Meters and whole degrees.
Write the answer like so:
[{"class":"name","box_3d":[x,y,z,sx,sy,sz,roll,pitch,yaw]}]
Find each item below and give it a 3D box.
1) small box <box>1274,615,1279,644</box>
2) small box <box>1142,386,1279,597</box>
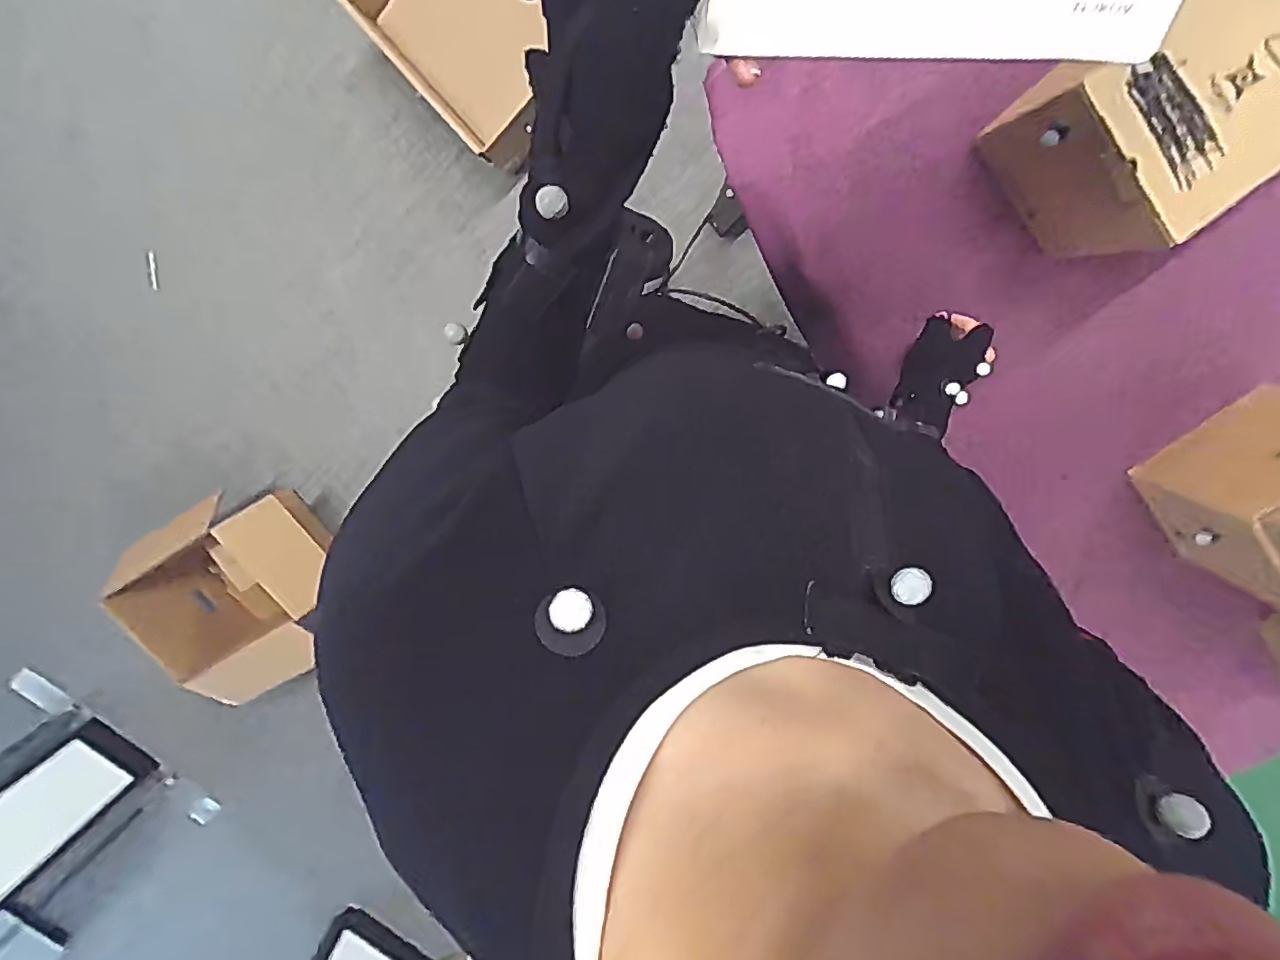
[{"class":"small box","box_3d":[0.972,0.229,0.673,0.179,0.176,0.168,-36,103,14]},{"class":"small box","box_3d":[0.739,0.016,0.616,0.179,0.176,0.168,-39,102,15]}]
